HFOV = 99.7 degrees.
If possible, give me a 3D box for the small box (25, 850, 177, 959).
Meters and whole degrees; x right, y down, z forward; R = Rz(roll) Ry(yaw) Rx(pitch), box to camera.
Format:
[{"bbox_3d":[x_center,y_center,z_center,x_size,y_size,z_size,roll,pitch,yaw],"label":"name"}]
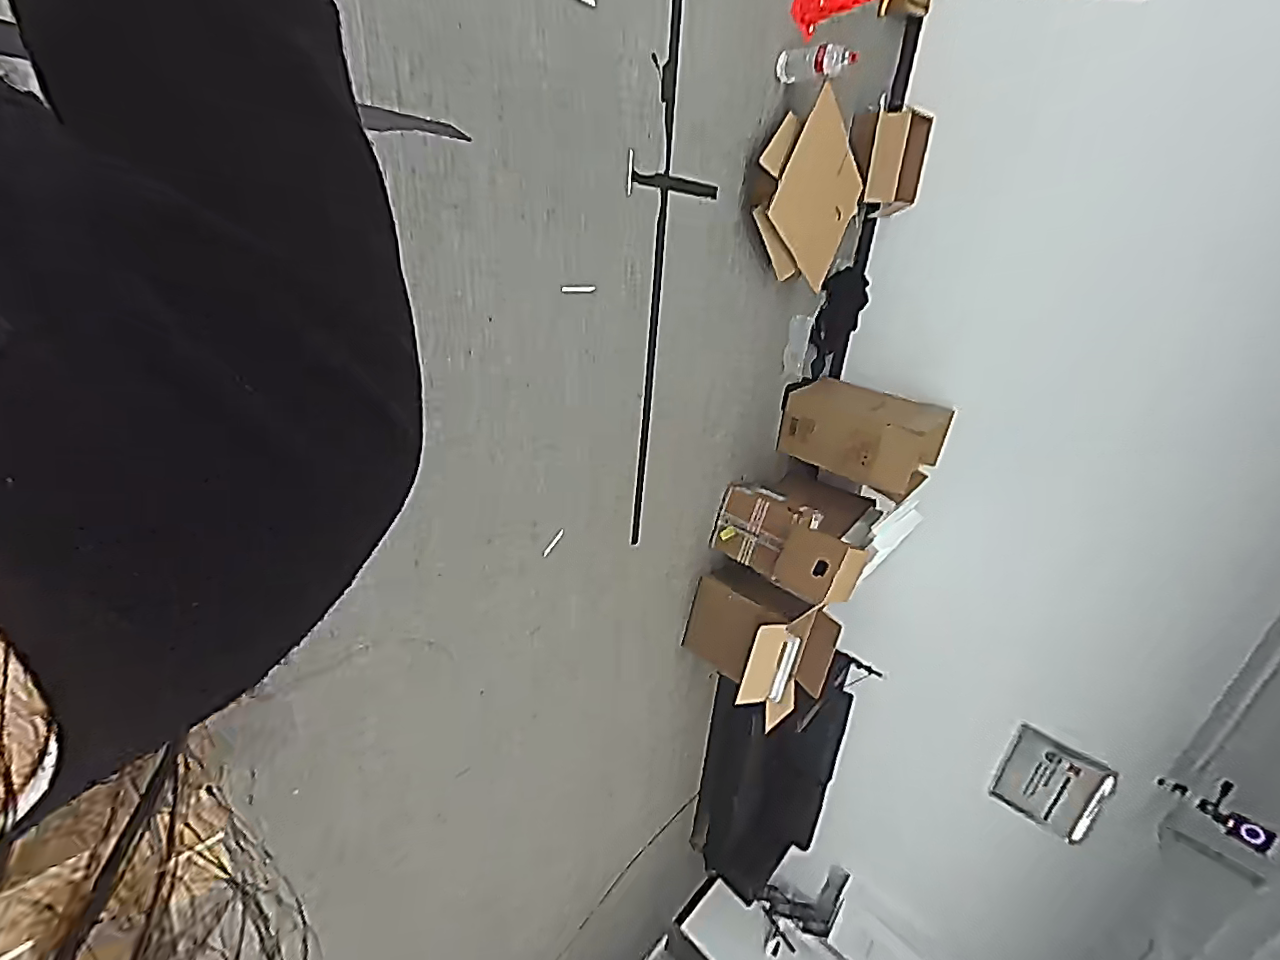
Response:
[{"bbox_3d":[-1.077,0.902,1.084,0.179,0.176,0.168,-21,123,-43],"label":"small box"}]
